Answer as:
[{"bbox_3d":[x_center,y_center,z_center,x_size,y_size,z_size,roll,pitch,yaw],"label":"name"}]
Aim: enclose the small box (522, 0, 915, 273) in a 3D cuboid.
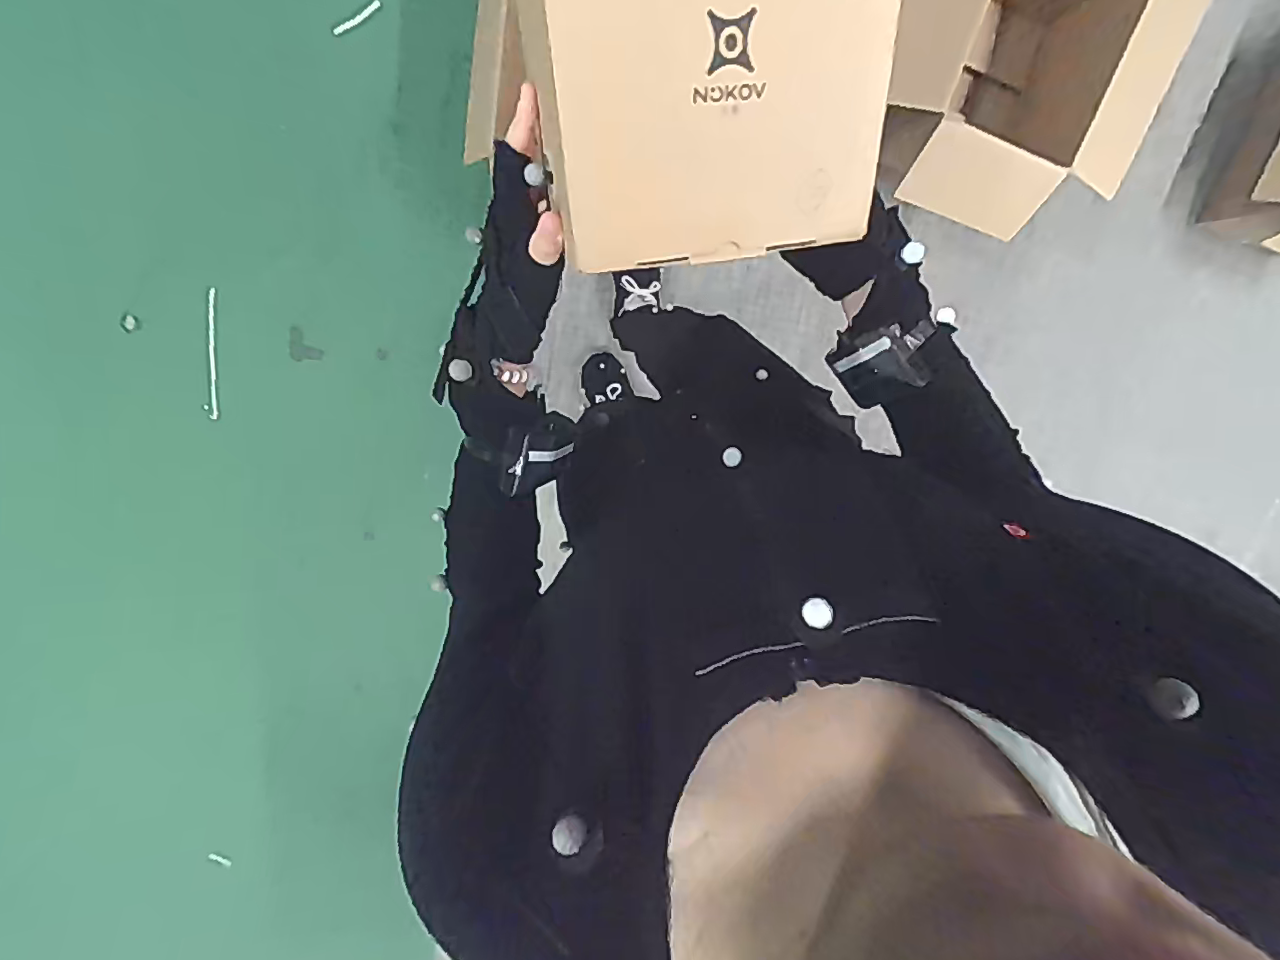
[{"bbox_3d":[0.027,-0.235,0.306,0.168,0.176,0.179,-12,125,-9],"label":"small box"}]
